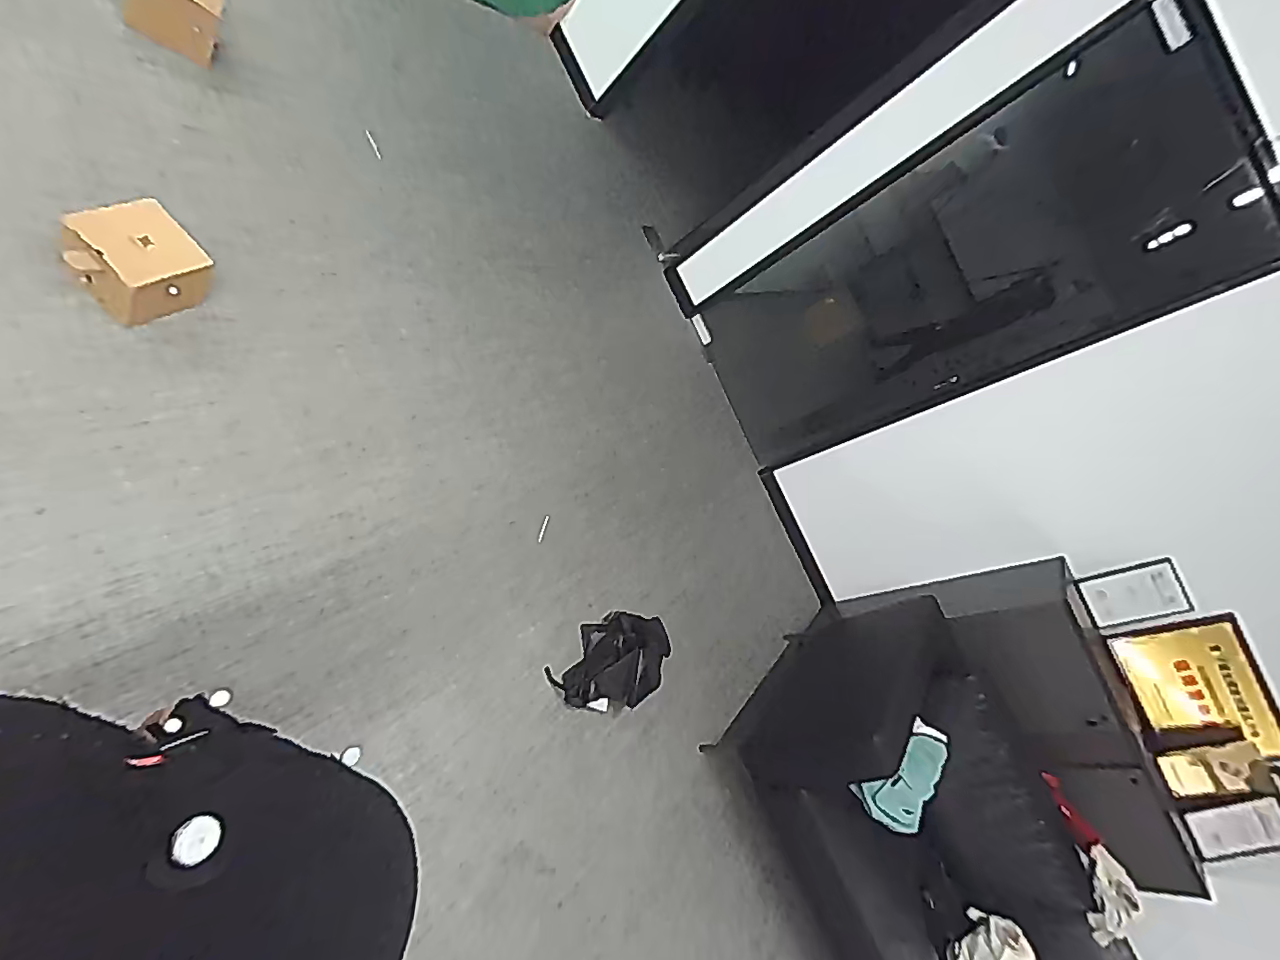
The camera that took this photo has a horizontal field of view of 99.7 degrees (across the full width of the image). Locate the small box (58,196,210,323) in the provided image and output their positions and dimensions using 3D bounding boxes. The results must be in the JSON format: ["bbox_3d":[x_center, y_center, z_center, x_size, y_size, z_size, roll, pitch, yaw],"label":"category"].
[{"bbox_3d":[-1.089,-0.471,1.163,0.168,0.176,0.179,52,43,-16],"label":"small box"}]
